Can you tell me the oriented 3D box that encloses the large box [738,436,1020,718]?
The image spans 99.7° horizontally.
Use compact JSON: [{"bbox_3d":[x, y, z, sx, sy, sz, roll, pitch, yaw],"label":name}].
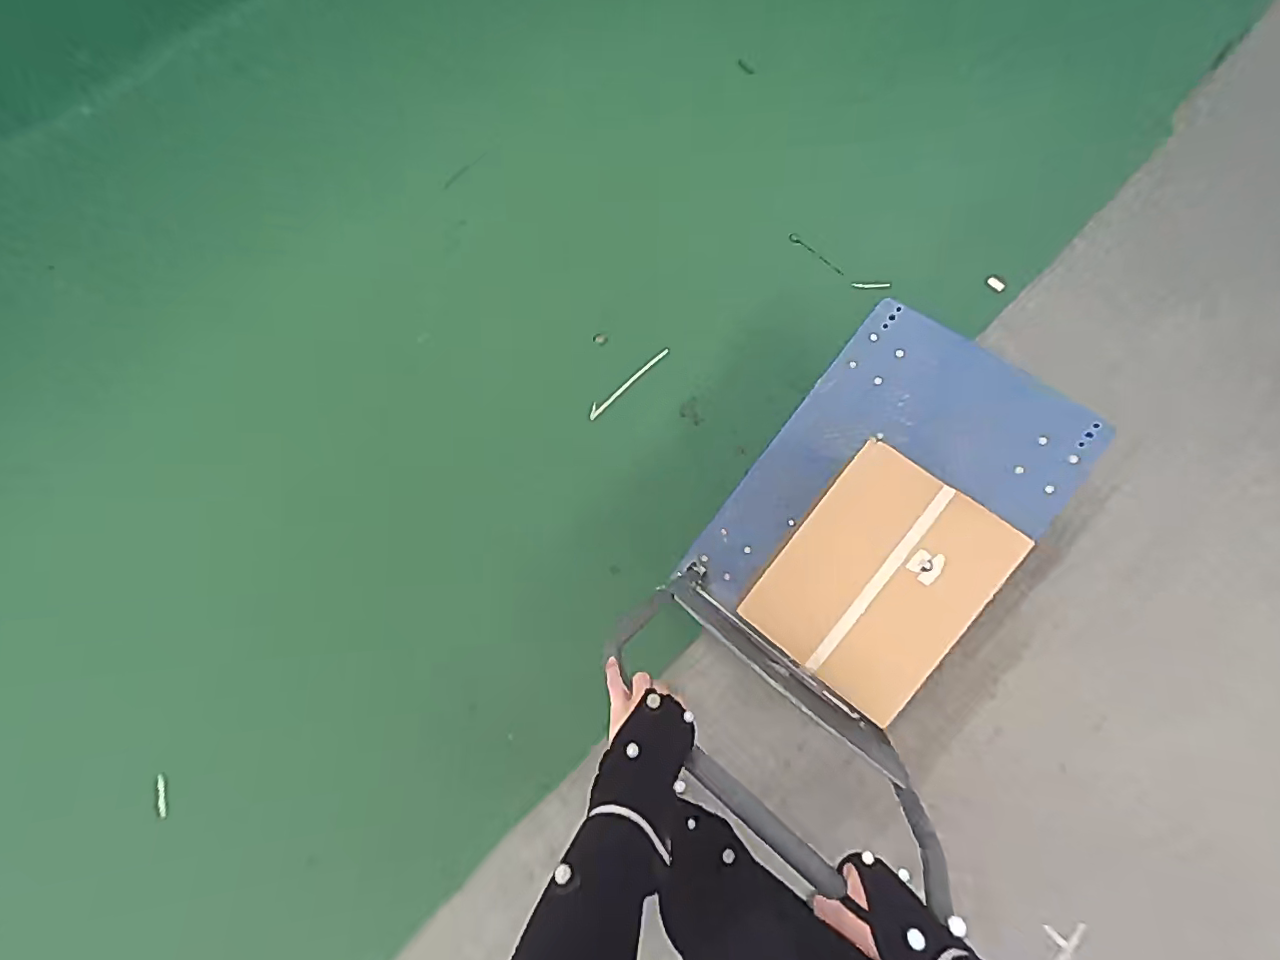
[{"bbox_3d":[0.442,0.184,1.098,0.320,0.320,0.408,38,92,13],"label":"large box"}]
